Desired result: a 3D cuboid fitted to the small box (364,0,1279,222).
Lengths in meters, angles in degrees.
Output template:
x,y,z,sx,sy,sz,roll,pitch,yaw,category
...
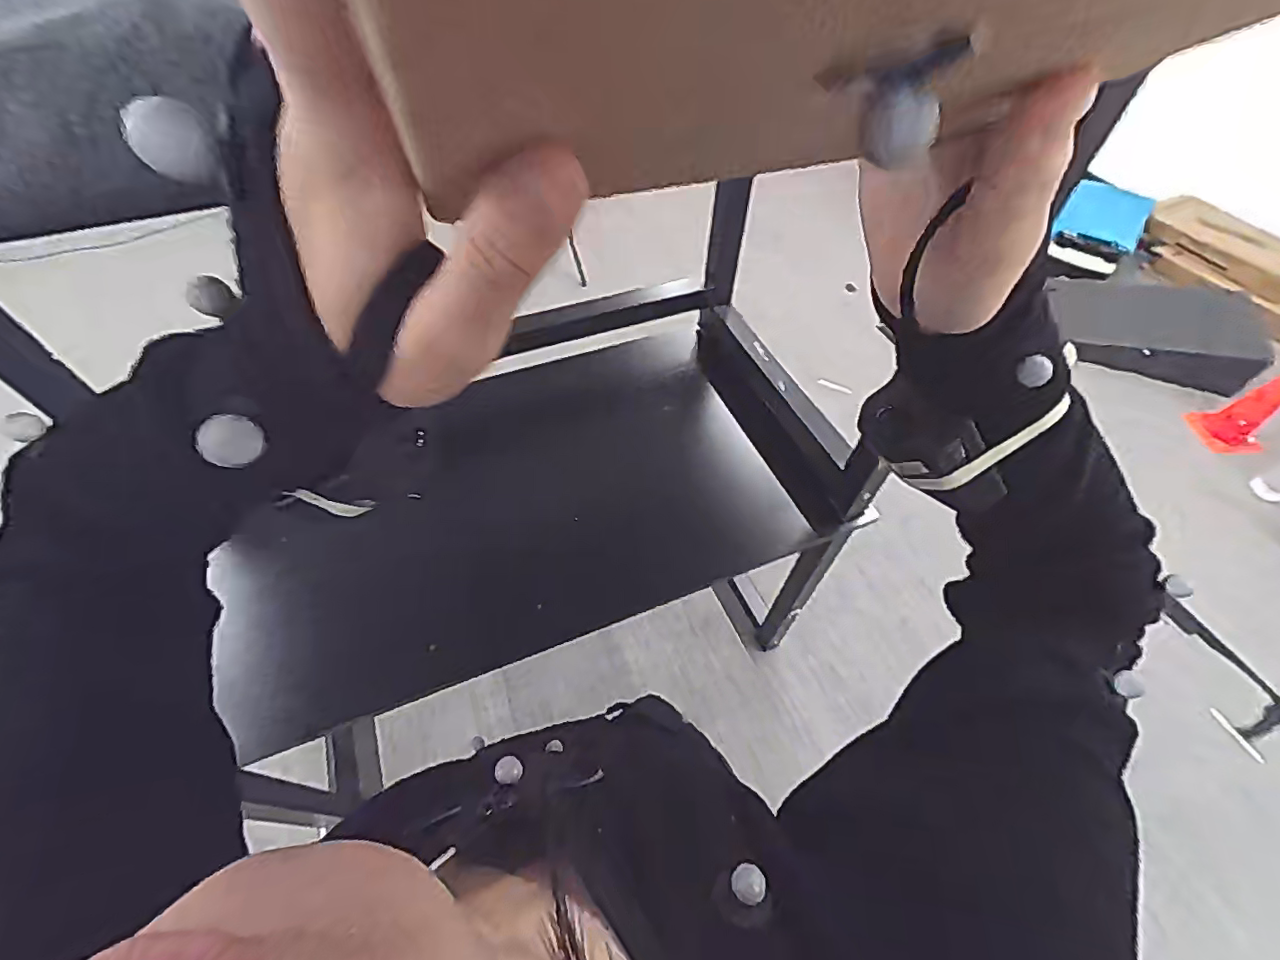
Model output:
x,y,z,sx,sy,sz,roll,pitch,yaw,category
0.035,-0.145,0.076,0.179,0.168,0.176,-15,21,-12,small box
